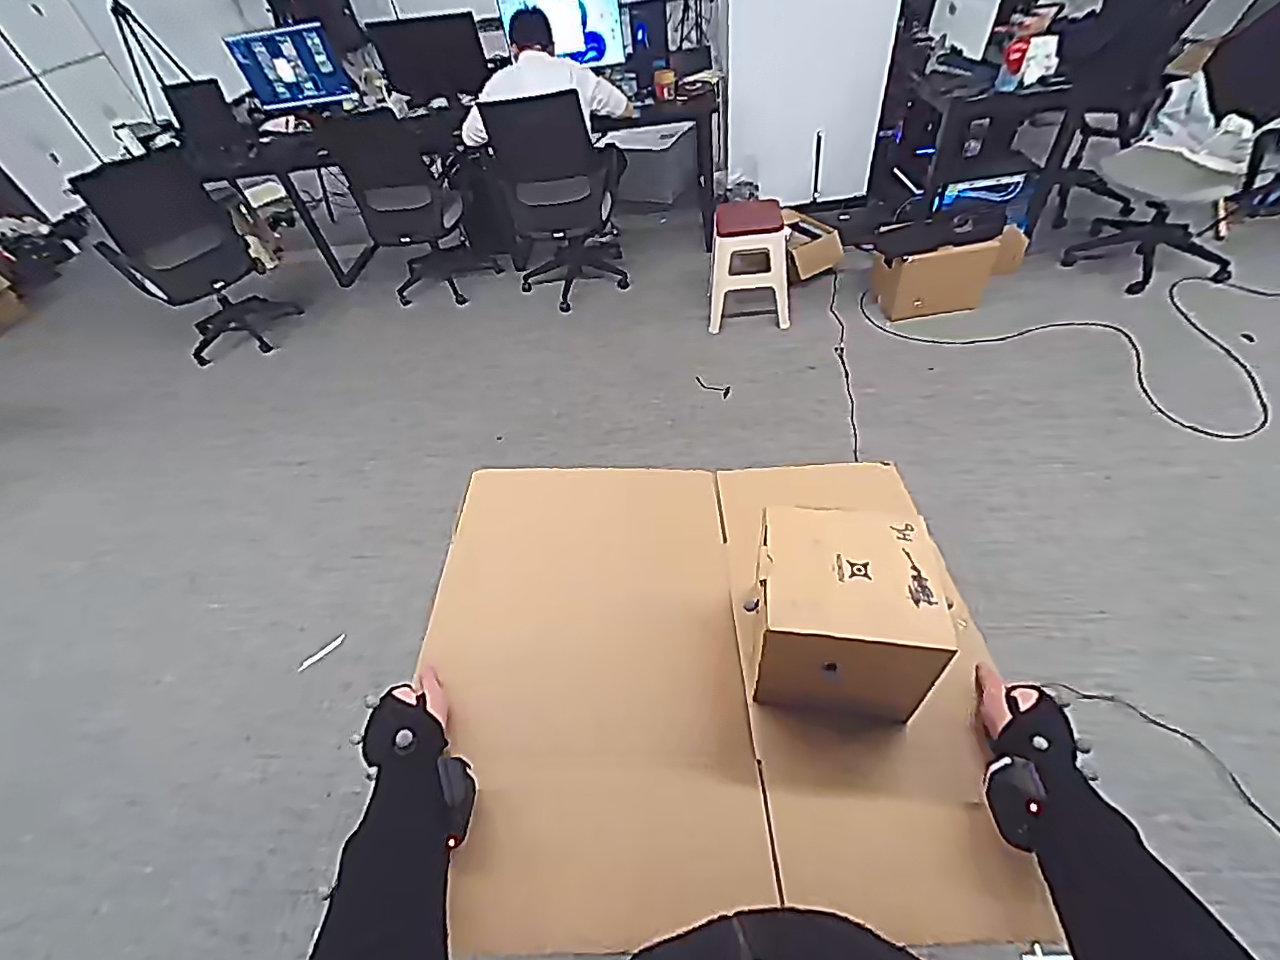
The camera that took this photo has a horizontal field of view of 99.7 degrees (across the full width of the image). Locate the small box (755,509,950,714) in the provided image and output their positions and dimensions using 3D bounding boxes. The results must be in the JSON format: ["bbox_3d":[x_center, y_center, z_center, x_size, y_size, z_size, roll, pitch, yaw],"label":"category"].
[{"bbox_3d":[0.227,0.153,0.629,0.179,0.176,0.168,3,46,11],"label":"small box"}]
